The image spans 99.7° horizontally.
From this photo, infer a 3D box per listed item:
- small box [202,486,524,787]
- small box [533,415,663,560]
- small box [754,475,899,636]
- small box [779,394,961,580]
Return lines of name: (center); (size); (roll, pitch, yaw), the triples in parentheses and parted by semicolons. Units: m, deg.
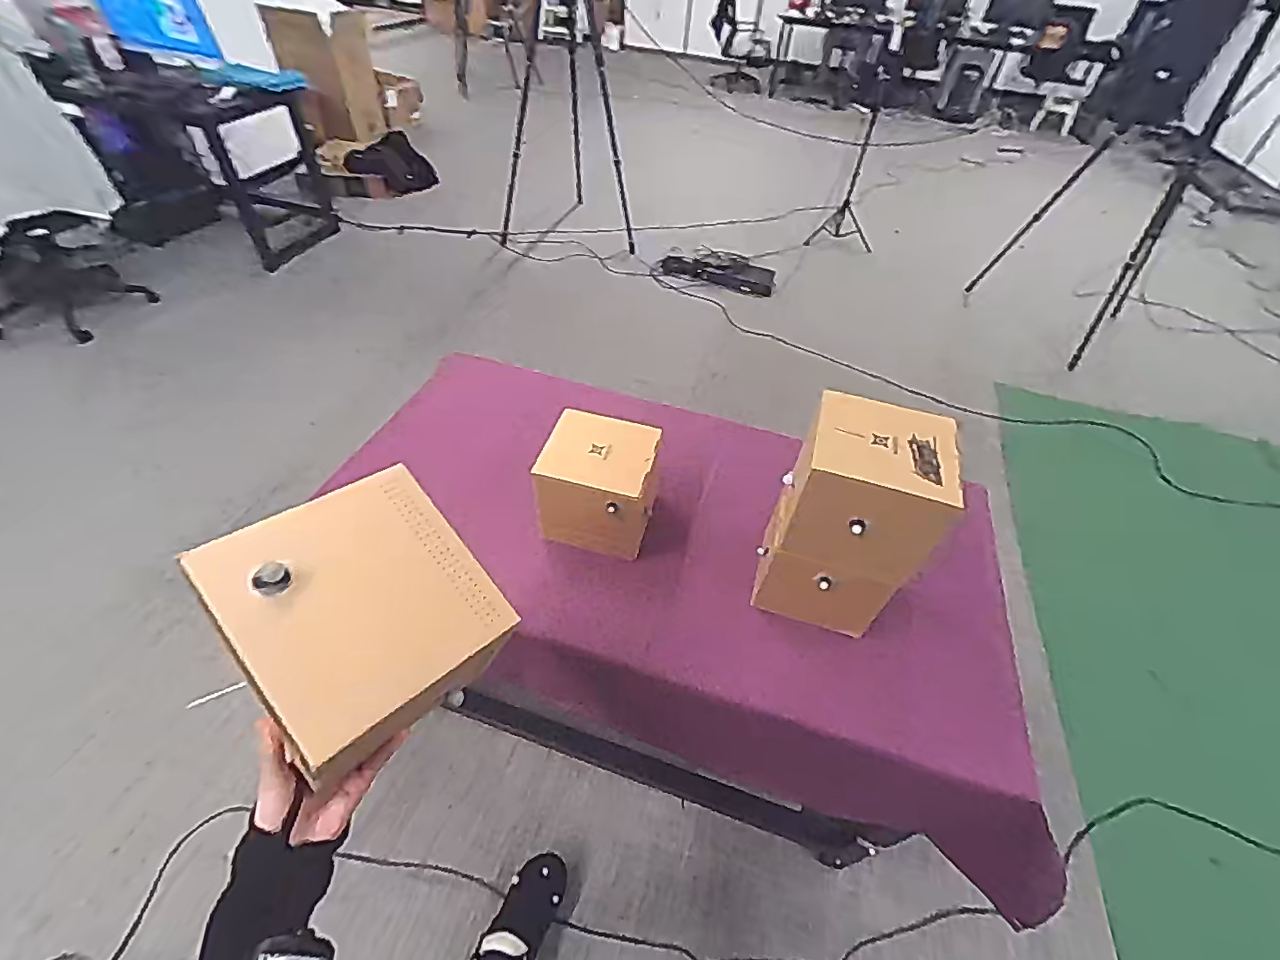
small box: (-0.232, 0.125, 0.472); (0.176, 0.168, 0.179); (-31, 76, -39)
small box: (-0.069, 0.016, 0.934); (0.179, 0.176, 0.168); (13, 47, 6)
small box: (0.291, 0.123, 0.860); (0.179, 0.176, 0.168); (16, 48, 10)
small box: (0.305, 0.013, 0.739); (0.179, 0.176, 0.168); (15, 48, 11)
